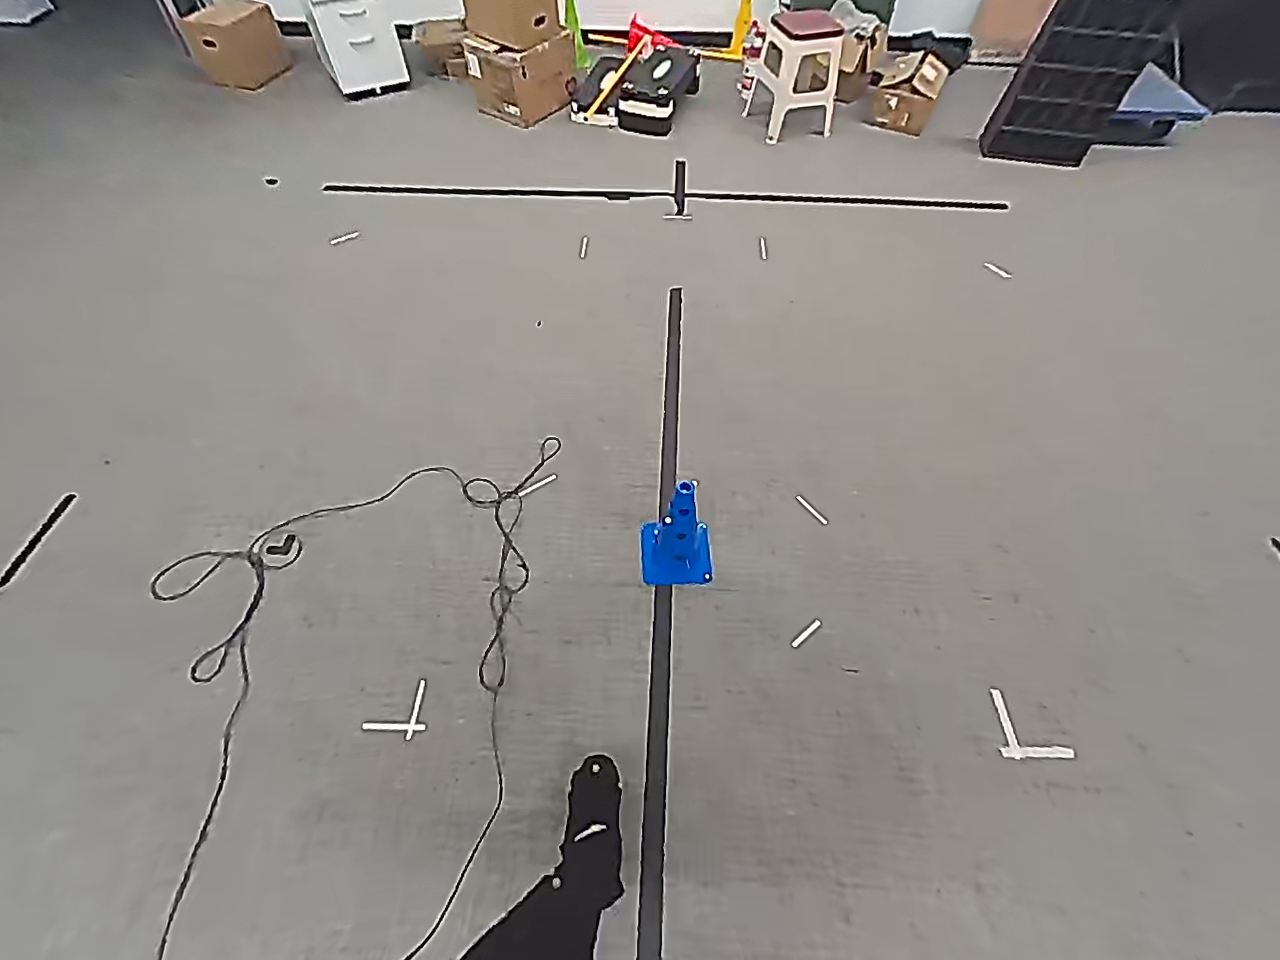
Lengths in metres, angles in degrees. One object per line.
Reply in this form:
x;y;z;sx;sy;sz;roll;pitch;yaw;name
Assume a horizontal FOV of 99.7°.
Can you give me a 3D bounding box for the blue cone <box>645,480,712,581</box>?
0.114;0.117;1.447;0.192;0.380;0.193;1;57;-1;blue cone
